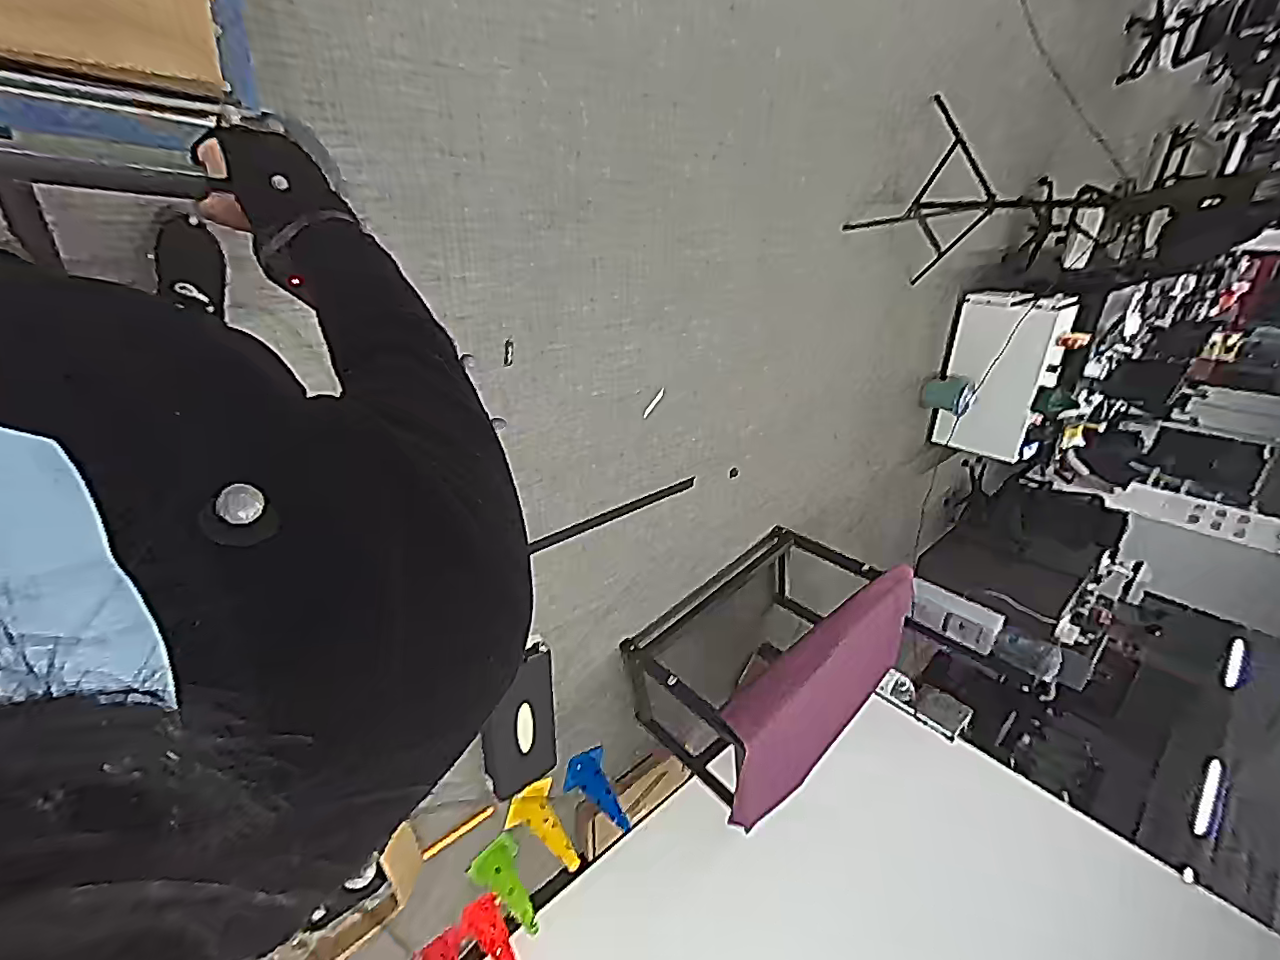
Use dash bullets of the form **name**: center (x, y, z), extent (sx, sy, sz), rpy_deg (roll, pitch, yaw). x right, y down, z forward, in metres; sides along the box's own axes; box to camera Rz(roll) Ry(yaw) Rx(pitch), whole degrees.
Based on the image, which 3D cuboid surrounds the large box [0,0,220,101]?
- **large box**: center (-0.805, -0.684, 0.645), extent (0.408, 0.320, 0.320), rpy_deg (-16, 126, -40)
